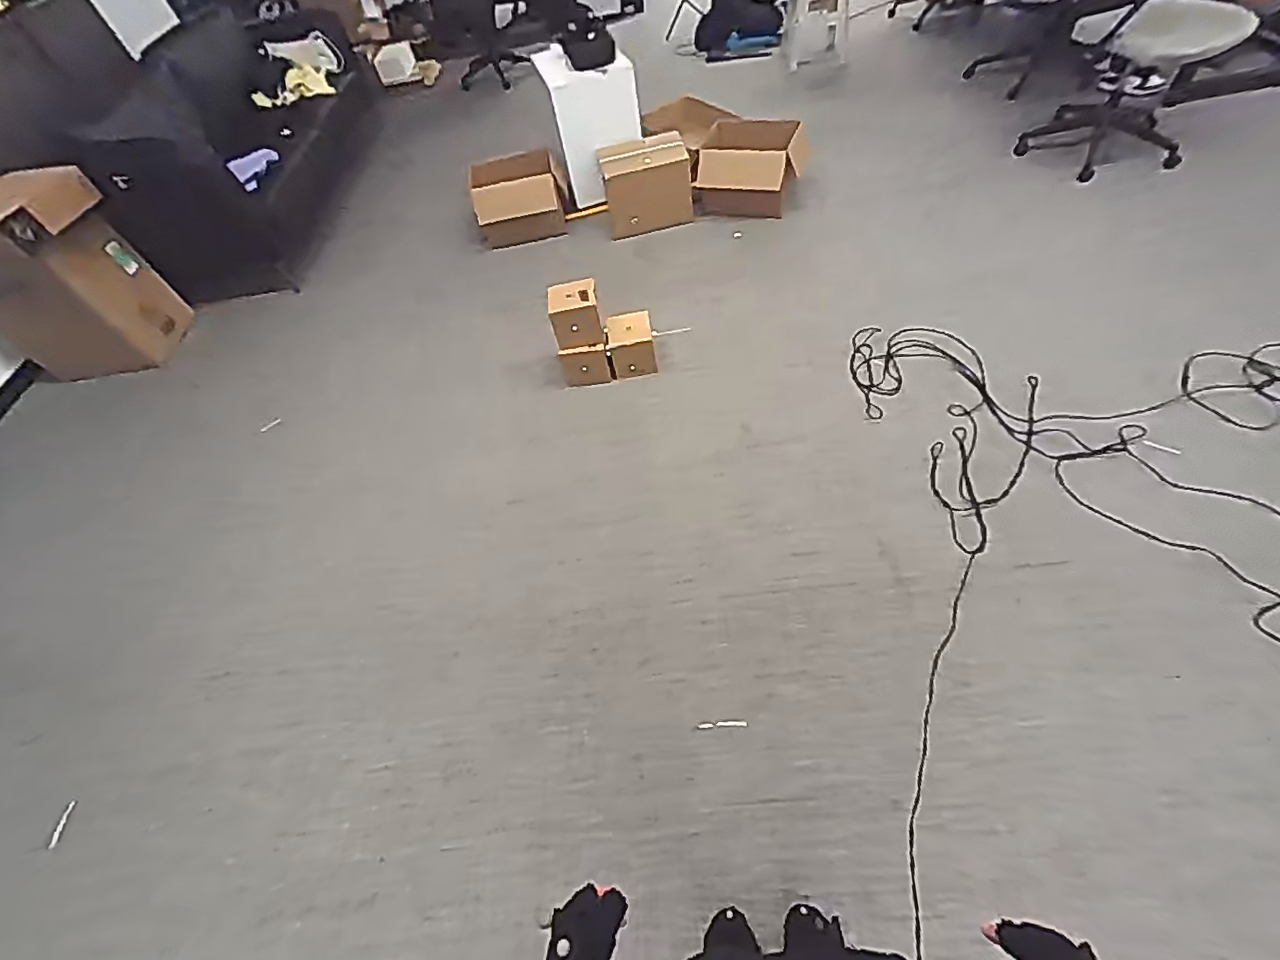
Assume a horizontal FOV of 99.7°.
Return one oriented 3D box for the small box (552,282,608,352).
[{"bbox_3d":[-0.217,-0.599,2.003,0.179,0.176,0.168,-10,52,5],"label":"small box"}]
